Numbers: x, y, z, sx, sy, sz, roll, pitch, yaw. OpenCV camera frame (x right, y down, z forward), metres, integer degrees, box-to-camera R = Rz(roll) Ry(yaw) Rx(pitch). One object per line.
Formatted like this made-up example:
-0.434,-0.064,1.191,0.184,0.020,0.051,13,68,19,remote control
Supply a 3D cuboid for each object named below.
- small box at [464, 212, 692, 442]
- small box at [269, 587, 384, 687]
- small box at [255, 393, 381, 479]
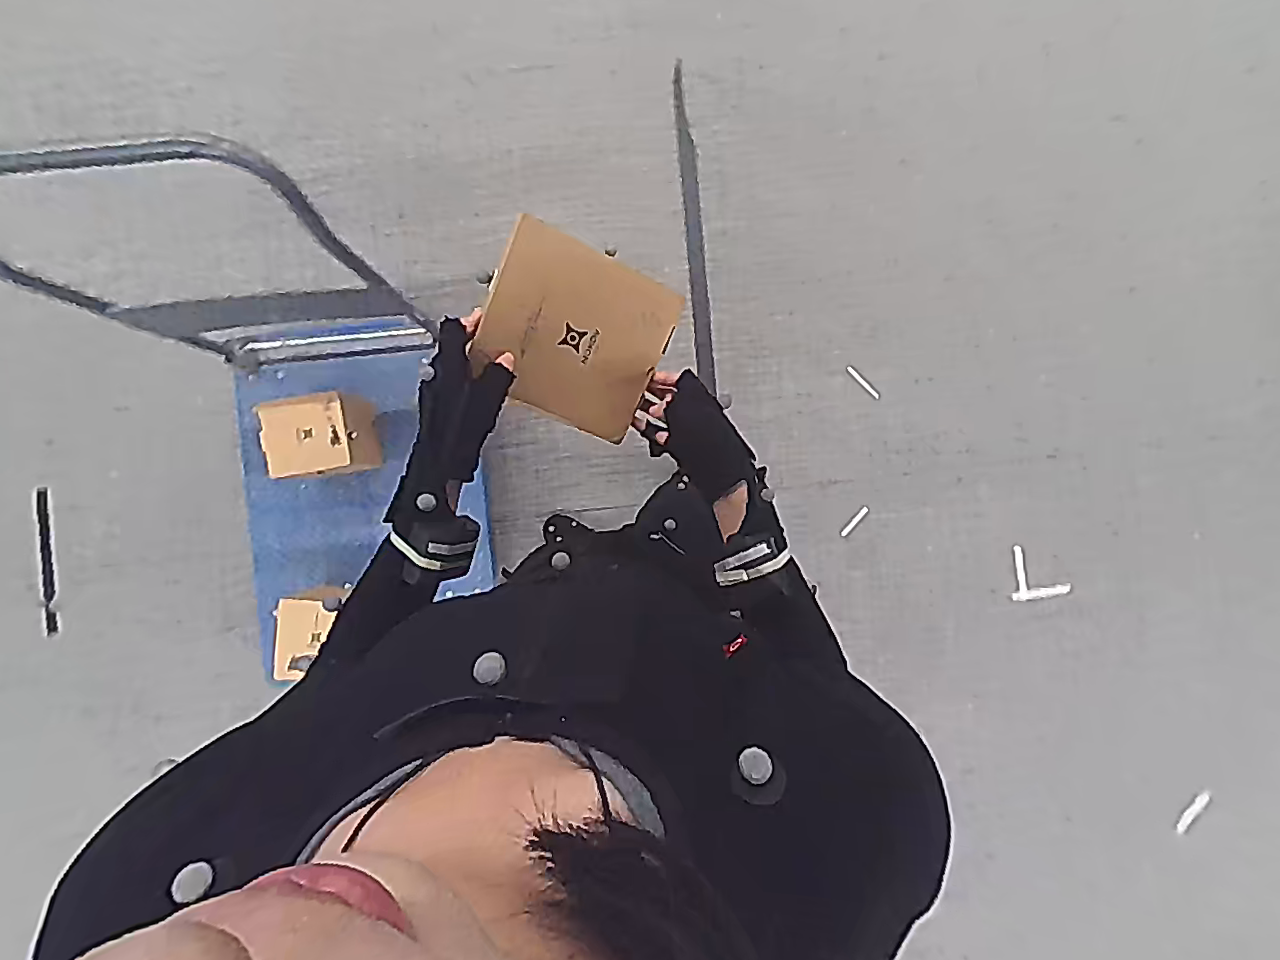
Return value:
-0.076,-0.165,0.591,0.179,0.176,0.168,21,103,-21,small box
-0.705,0.351,1.233,0.168,0.176,0.179,4,88,-2,small box
-0.727,-0.094,1.236,0.179,0.176,0.168,-10,91,-1,small box
